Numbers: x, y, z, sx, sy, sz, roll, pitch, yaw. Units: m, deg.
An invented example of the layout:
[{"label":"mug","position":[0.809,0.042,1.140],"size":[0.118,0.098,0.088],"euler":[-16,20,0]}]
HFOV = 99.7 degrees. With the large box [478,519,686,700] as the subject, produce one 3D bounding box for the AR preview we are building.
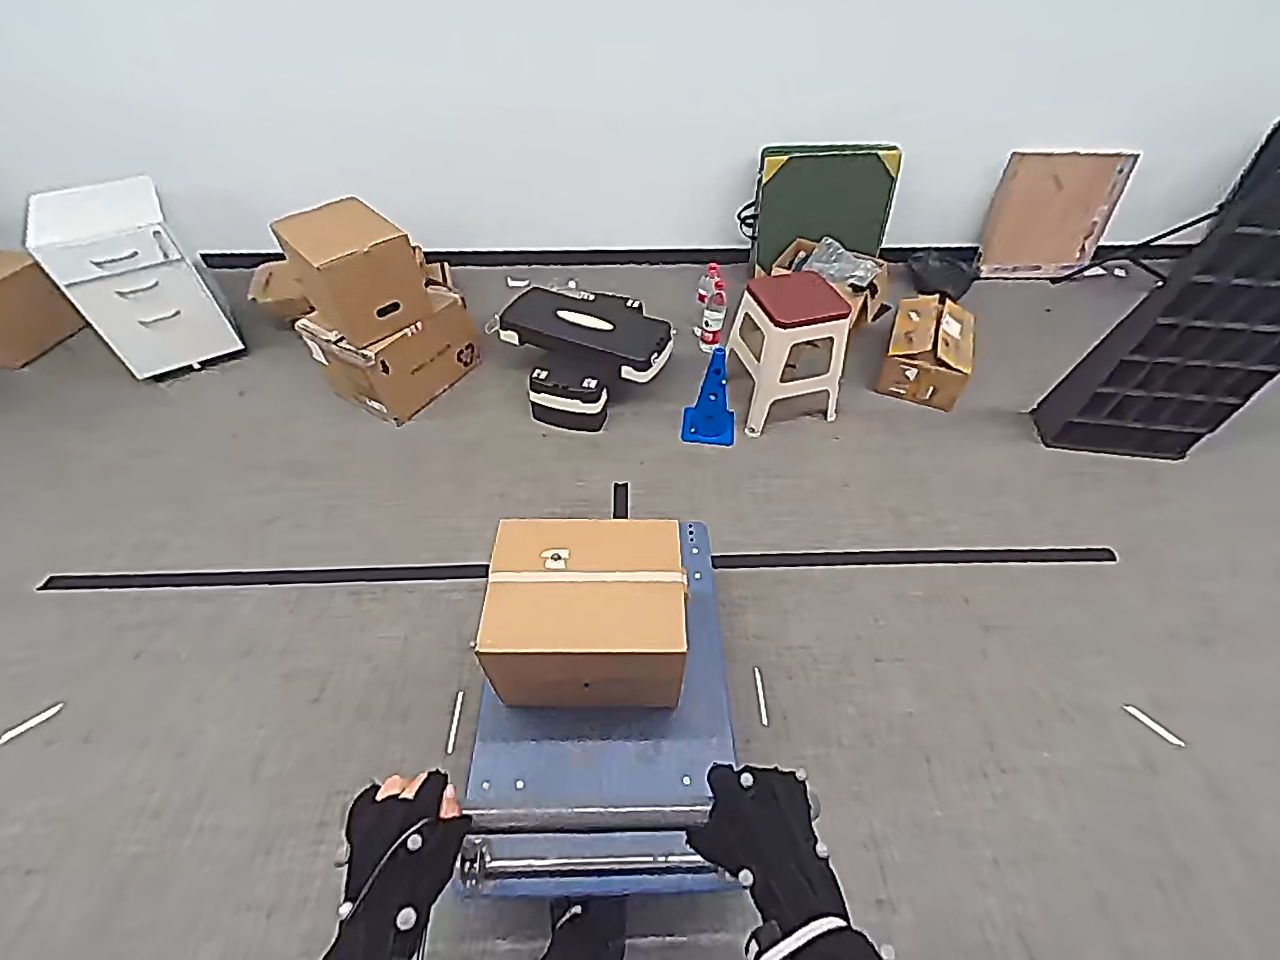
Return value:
[{"label":"large box","position":[-0.112,0.301,1.240],"size":[0.408,0.320,0.320],"euler":[0,49,0]}]
